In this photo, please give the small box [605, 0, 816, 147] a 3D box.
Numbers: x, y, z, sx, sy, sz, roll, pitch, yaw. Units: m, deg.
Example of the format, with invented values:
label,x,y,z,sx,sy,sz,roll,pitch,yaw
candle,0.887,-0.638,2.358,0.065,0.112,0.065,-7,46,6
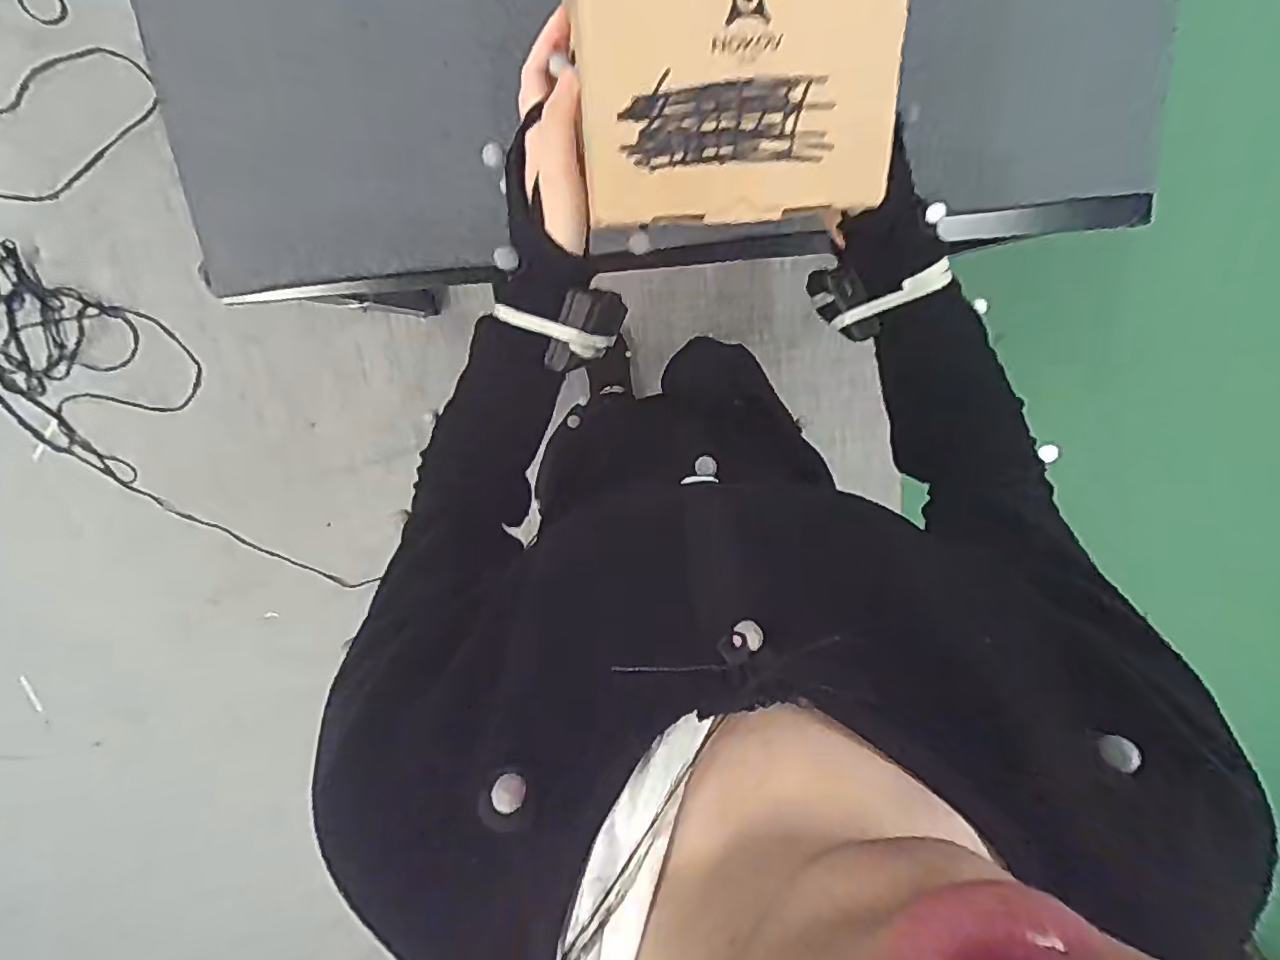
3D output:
label,x,y,z,sx,sy,sz,roll,pitch,yaw
small box,0.058,-0.471,0.543,0.168,0.176,0.179,-11,103,-2
